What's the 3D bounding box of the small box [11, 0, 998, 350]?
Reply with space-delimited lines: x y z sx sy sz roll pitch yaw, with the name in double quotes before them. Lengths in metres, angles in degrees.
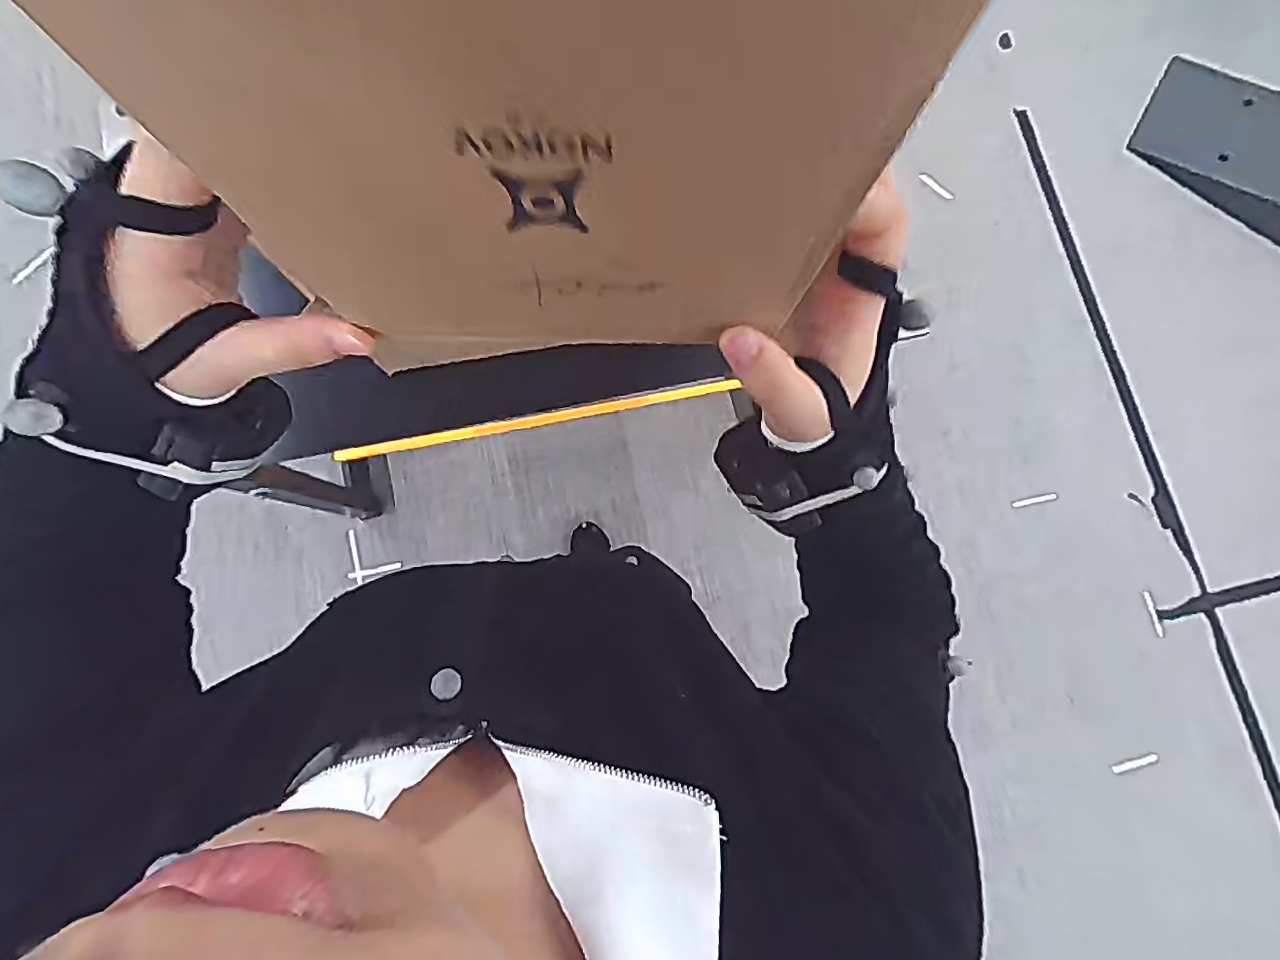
"small box" -0.026 -0.151 0.156 0.168 0.179 0.176 1 81 -3
